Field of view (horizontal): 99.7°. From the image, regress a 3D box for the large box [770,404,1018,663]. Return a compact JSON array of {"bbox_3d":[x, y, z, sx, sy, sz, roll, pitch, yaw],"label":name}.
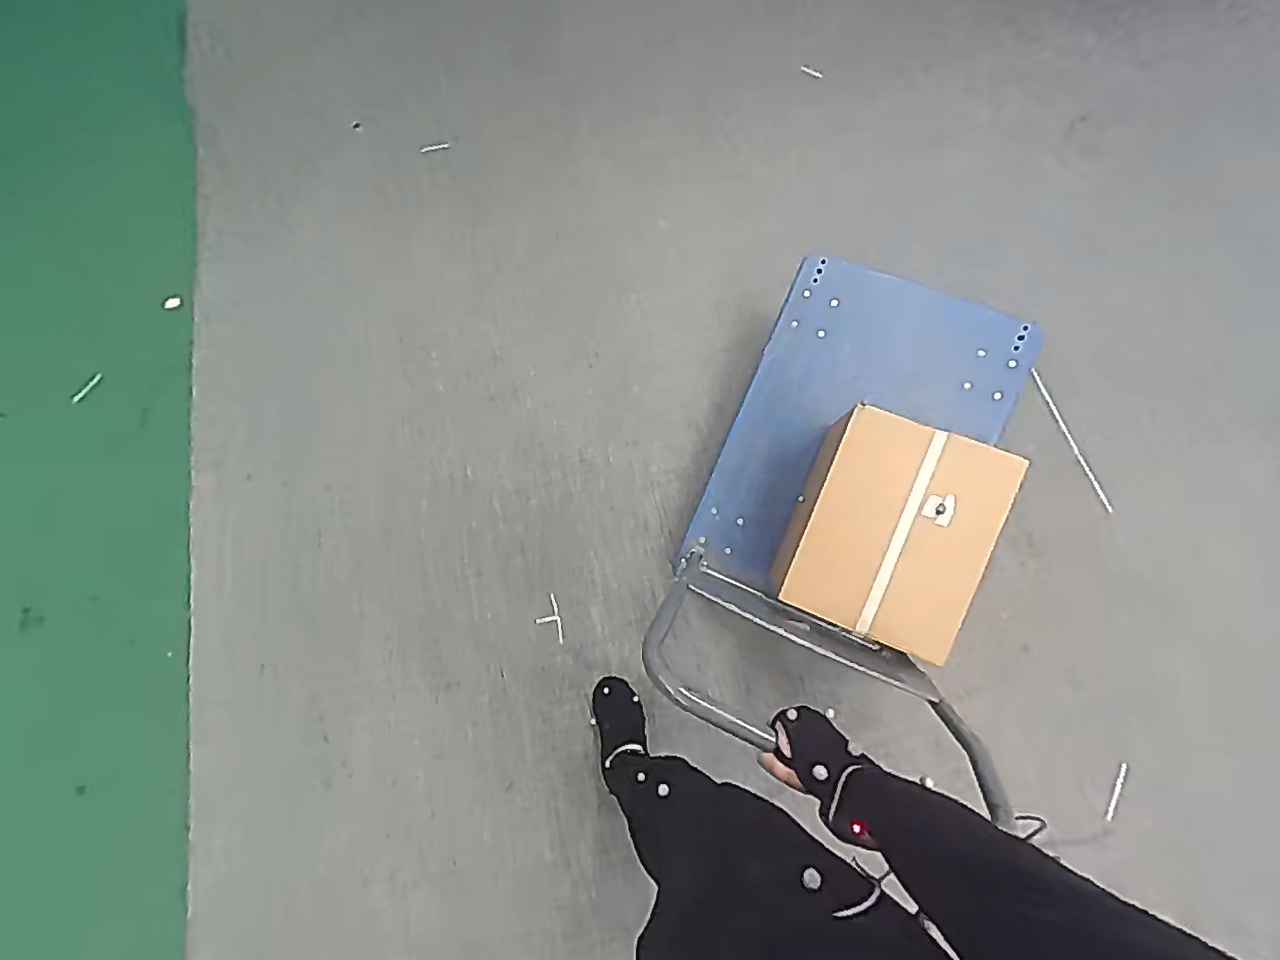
[{"bbox_3d":[0.493,0.103,1.140,0.320,0.320,0.408,22,92,10],"label":"large box"}]
